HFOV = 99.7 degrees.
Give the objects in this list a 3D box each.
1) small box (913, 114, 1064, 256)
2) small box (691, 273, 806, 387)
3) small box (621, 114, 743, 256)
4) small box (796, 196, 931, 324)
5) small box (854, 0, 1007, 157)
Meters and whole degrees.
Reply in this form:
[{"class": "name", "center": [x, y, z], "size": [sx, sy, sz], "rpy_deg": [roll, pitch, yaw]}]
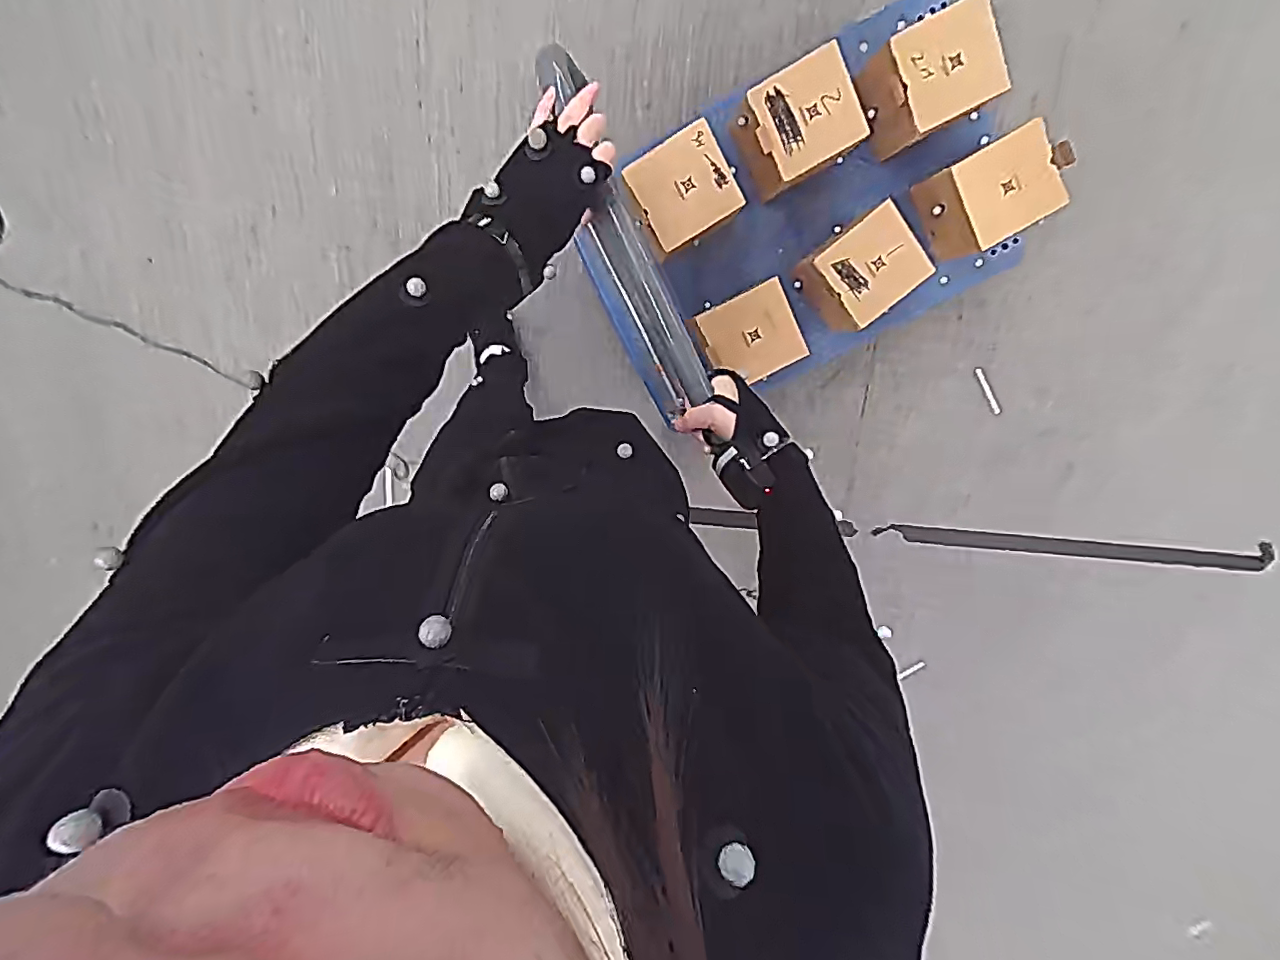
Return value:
[{"class": "small box", "center": [0.676, -0.569, 1.074], "size": [0.179, 0.176, 0.168], "rpy_deg": [-29, 103, 7]}, {"class": "small box", "center": [0.217, -0.310, 1.136], "size": [0.179, 0.176, 0.168], "rpy_deg": [-26, 105, 5]}, {"class": "small box", "center": [0.078, -0.563, 1.063], "size": [0.179, 0.176, 0.168], "rpy_deg": [-30, 105, 7]}, {"class": "small box", "center": [0.441, -0.435, 1.105], "size": [0.179, 0.176, 0.168], "rpy_deg": [-38, 102, 8]}, {"class": "small box", "center": [0.538, -0.752, 1.021], "size": [0.179, 0.176, 0.168], "rpy_deg": [-24, 104, 6]}]
